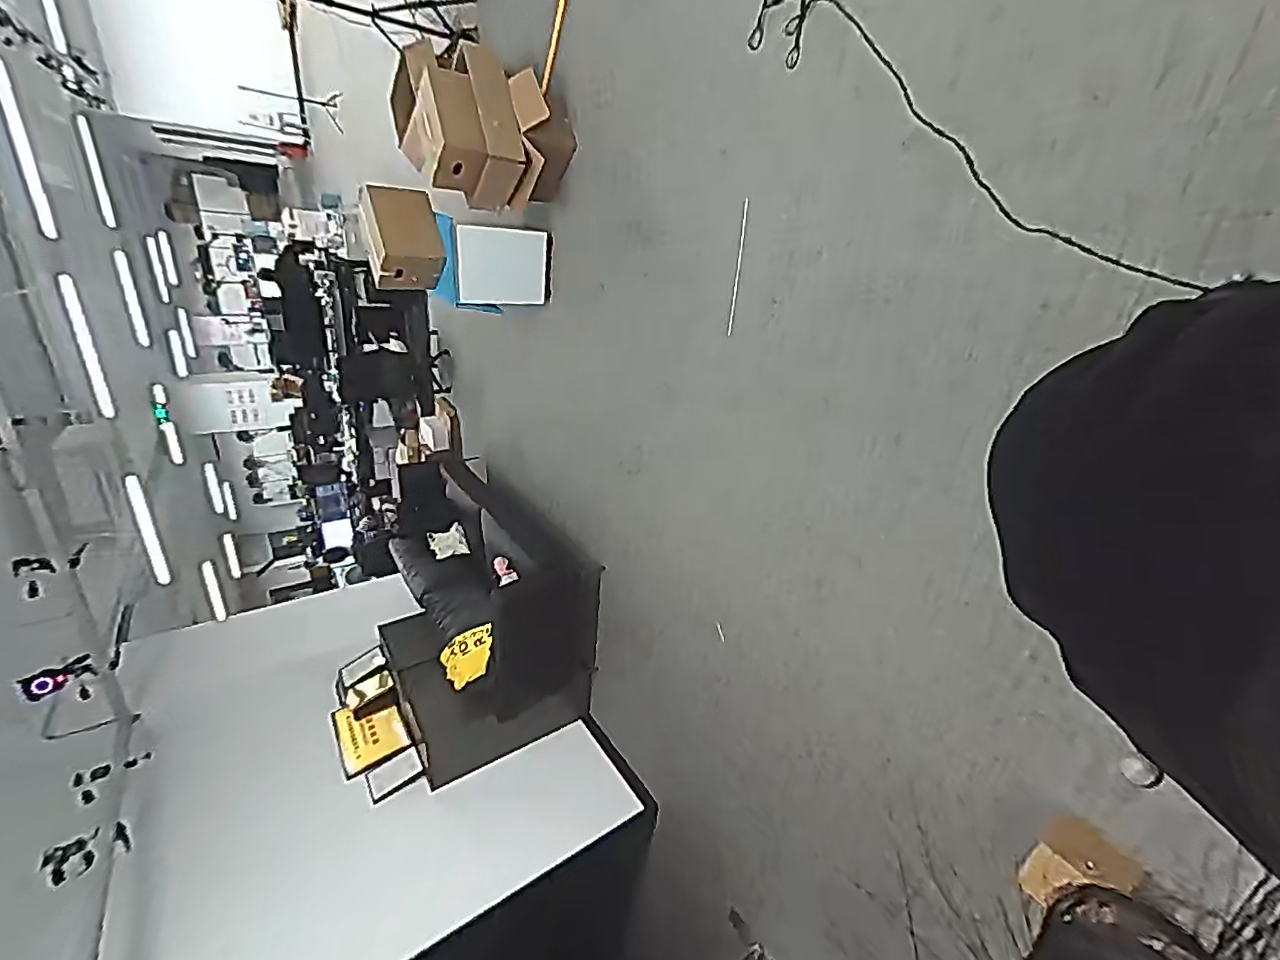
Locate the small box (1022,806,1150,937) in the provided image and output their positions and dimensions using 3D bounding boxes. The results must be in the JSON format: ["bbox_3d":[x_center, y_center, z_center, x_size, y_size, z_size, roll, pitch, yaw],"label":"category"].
[{"bbox_3d":[1.116,0.970,1.353,0.179,0.176,0.168,38,130,45],"label":"small box"}]
